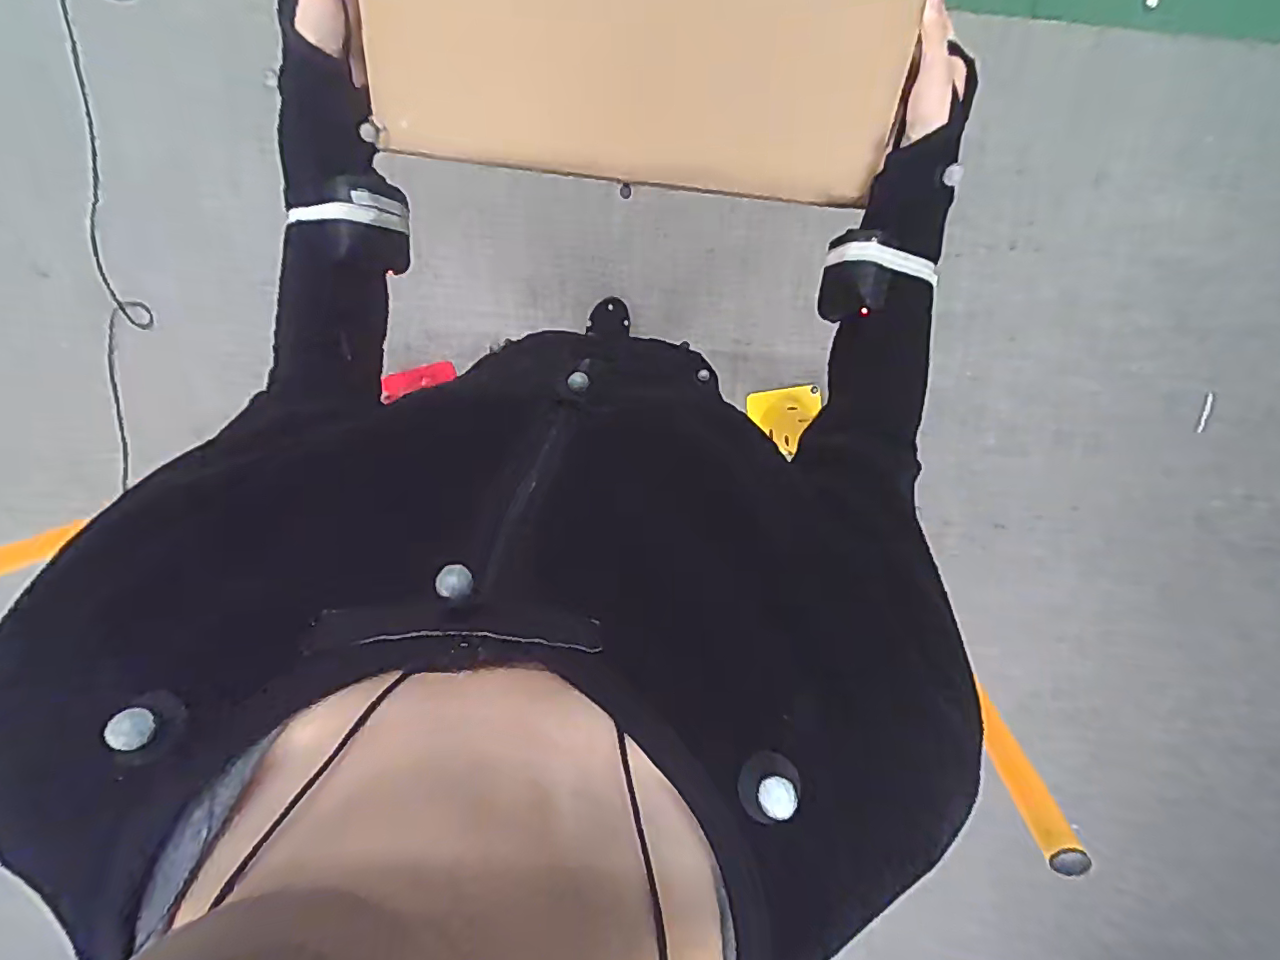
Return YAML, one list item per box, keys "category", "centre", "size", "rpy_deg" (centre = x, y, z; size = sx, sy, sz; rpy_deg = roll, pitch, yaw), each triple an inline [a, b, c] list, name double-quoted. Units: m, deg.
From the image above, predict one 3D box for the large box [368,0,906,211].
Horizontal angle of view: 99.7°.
- category: "large box"
  centre: [0.001, -0.454, 0.514]
  size: [0.408, 0.320, 0.320]
  rpy_deg: [5, 117, -5]
